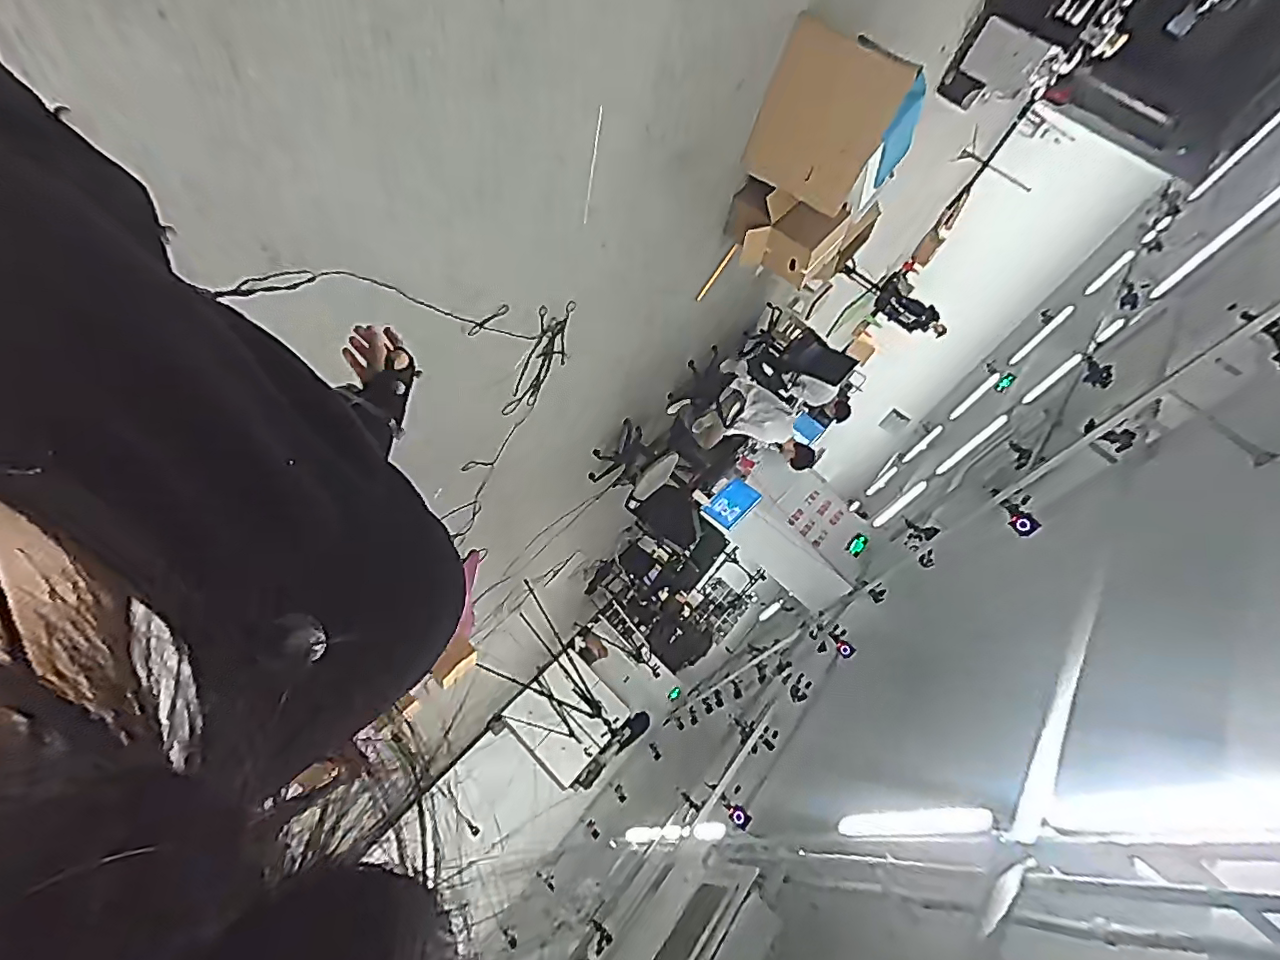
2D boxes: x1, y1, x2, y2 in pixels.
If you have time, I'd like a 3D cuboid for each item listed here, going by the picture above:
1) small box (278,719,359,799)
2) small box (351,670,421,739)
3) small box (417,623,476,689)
[{"bbox_3d":[-1.131,0.982,1.910,0.179,0.176,0.168,-37,162,-38],"label":"small box"},{"bbox_3d":[-0.967,0.856,2.067,0.168,0.176,0.179,-40,164,-31],"label":"small box"},{"bbox_3d":[-0.796,0.719,2.221,0.168,0.176,0.179,-38,162,-36],"label":"small box"}]
